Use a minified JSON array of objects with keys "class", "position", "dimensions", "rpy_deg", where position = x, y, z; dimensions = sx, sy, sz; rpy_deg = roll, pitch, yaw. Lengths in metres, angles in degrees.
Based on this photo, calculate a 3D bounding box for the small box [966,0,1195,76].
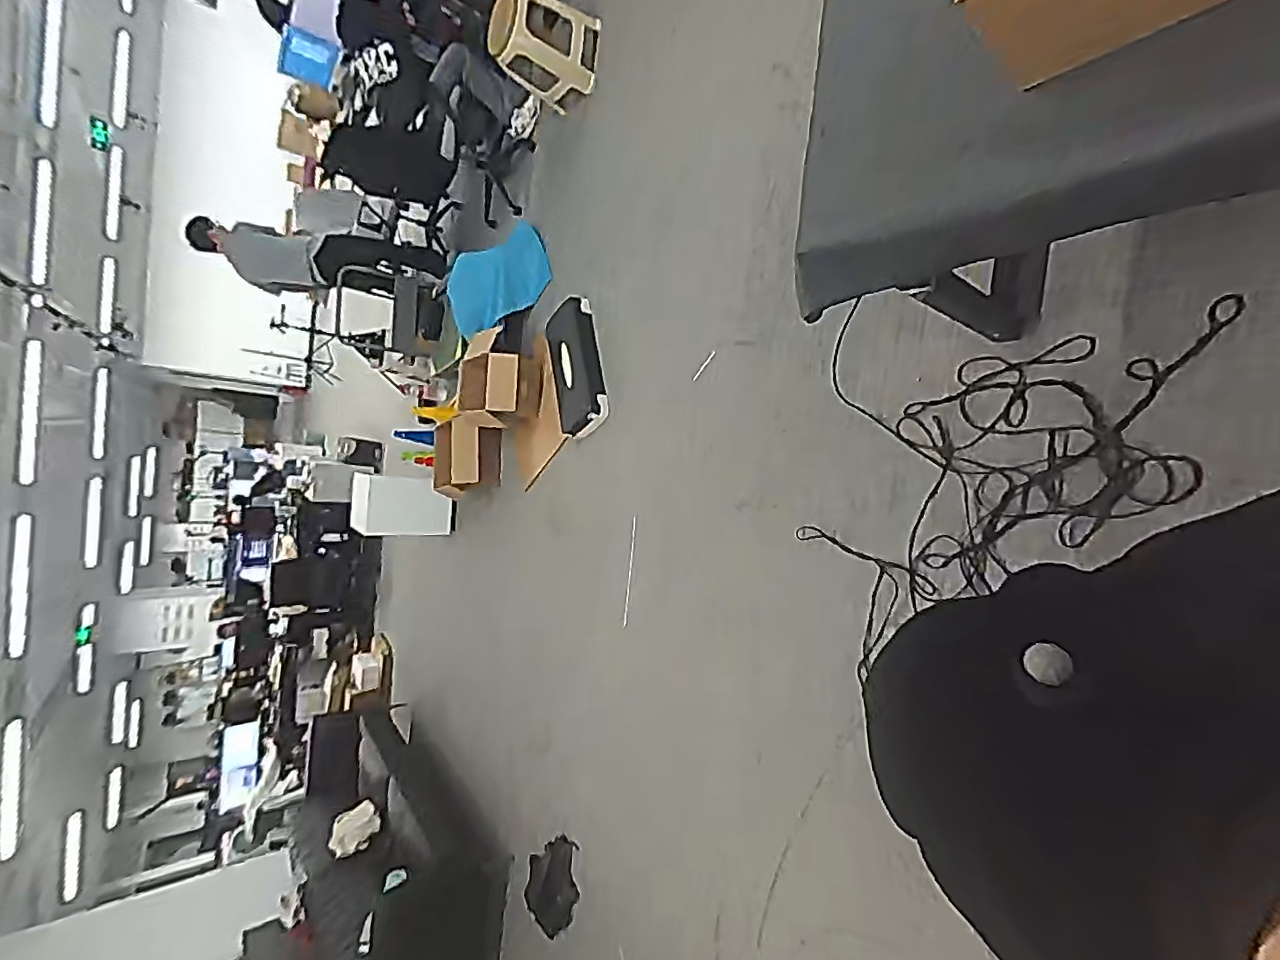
[{"class":"small box","position":[0.421,-0.524,0.485],"dimensions":[0.179,0.176,0.168],"rpy_deg":[4,88,53]}]
